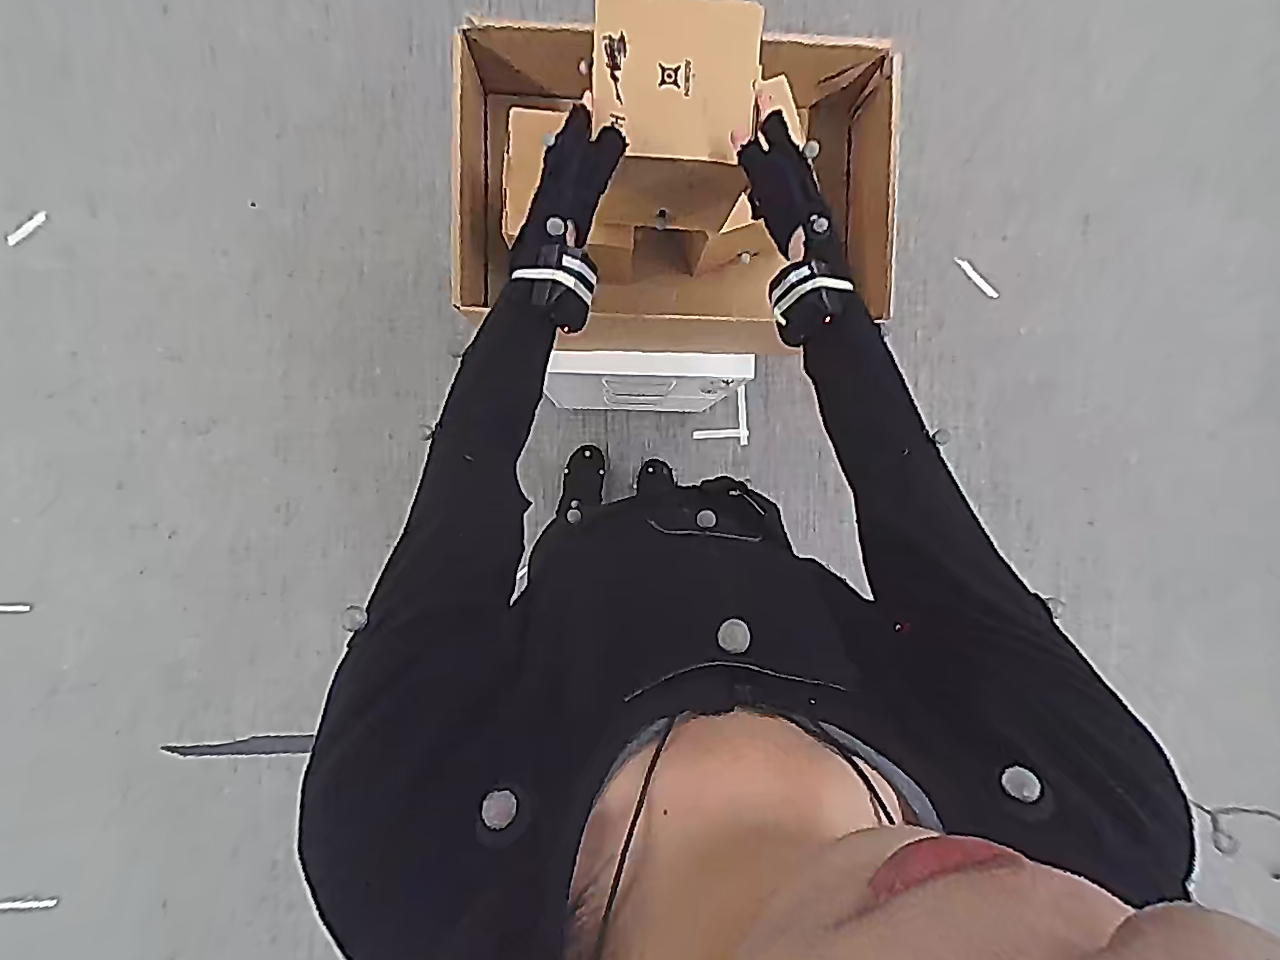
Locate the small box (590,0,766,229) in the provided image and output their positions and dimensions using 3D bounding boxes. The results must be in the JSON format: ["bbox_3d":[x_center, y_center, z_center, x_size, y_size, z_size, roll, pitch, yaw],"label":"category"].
[{"bbox_3d":[0.033,-0.412,0.633,0.179,0.176,0.168,2,92,-5],"label":"small box"}]
